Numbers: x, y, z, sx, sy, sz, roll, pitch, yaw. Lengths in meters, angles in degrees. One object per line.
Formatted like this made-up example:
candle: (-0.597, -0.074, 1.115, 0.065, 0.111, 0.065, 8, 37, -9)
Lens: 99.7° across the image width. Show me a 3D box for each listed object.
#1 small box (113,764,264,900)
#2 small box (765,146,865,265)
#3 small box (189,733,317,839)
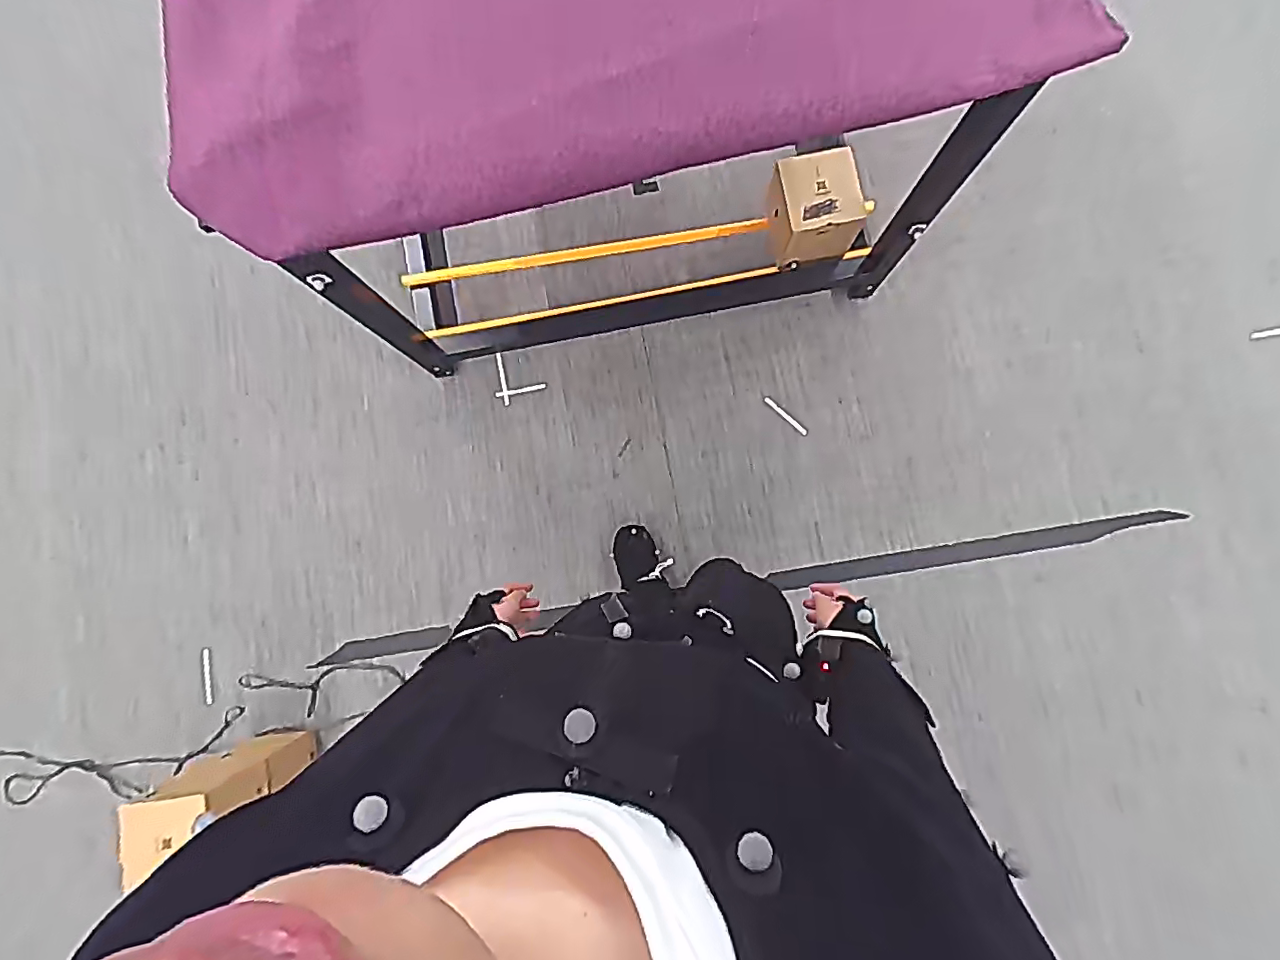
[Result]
small box: (-0.897, 0.699, 1.094, 0.179, 0.176, 0.168, -9, 85, 2)
small box: (0.395, -0.618, 1.245, 0.168, 0.176, 0.179, -10, 83, 2)
small box: (-0.891, 0.711, 1.256, 0.179, 0.176, 0.168, -9, 86, 1)
